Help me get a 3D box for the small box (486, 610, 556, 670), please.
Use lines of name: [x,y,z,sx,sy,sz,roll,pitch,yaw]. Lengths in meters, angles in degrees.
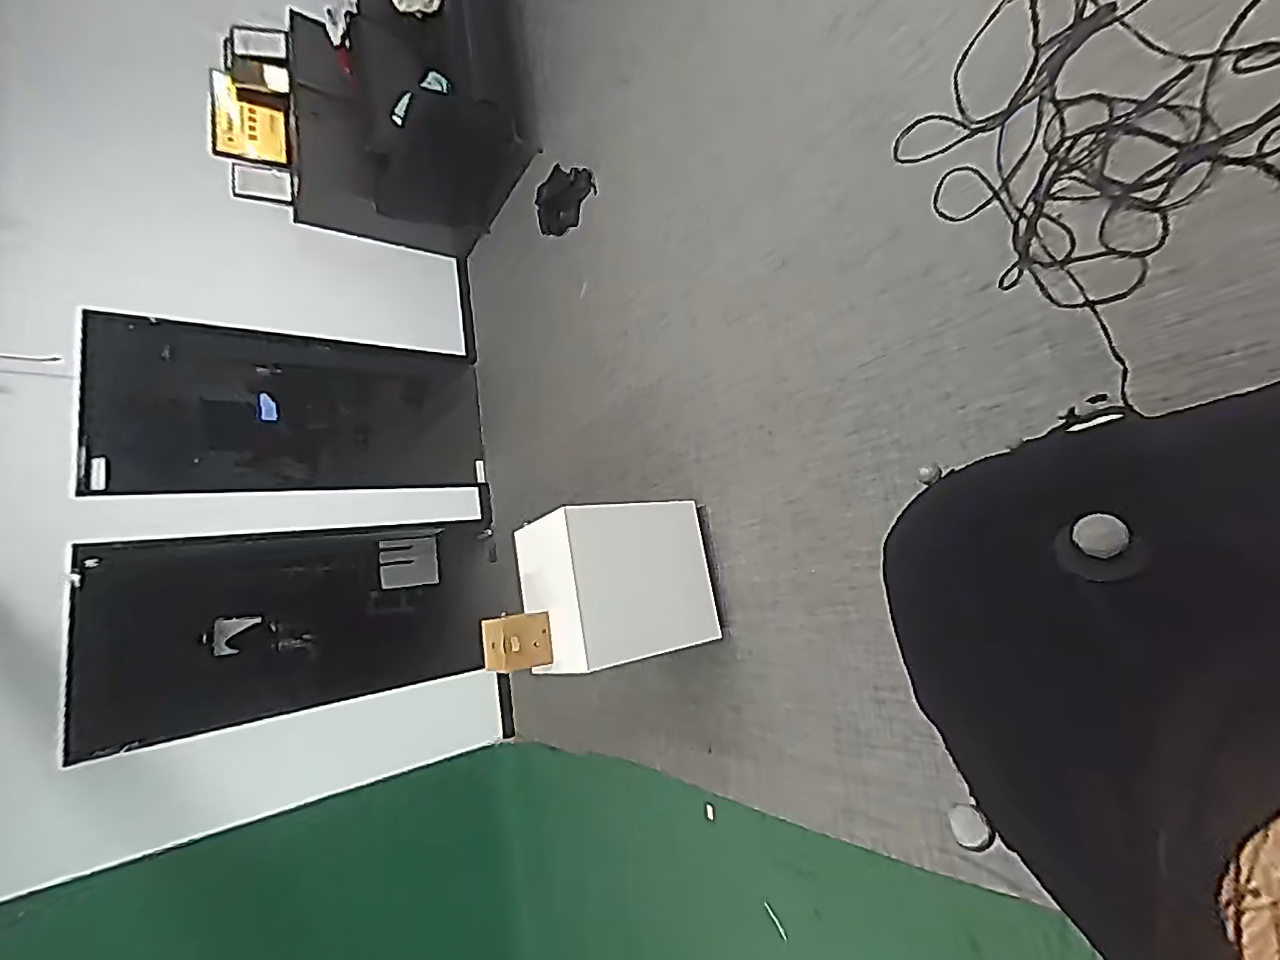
small box: [-0.394,0.525,1.790,0.179,0.176,0.168,-22,72,51]
